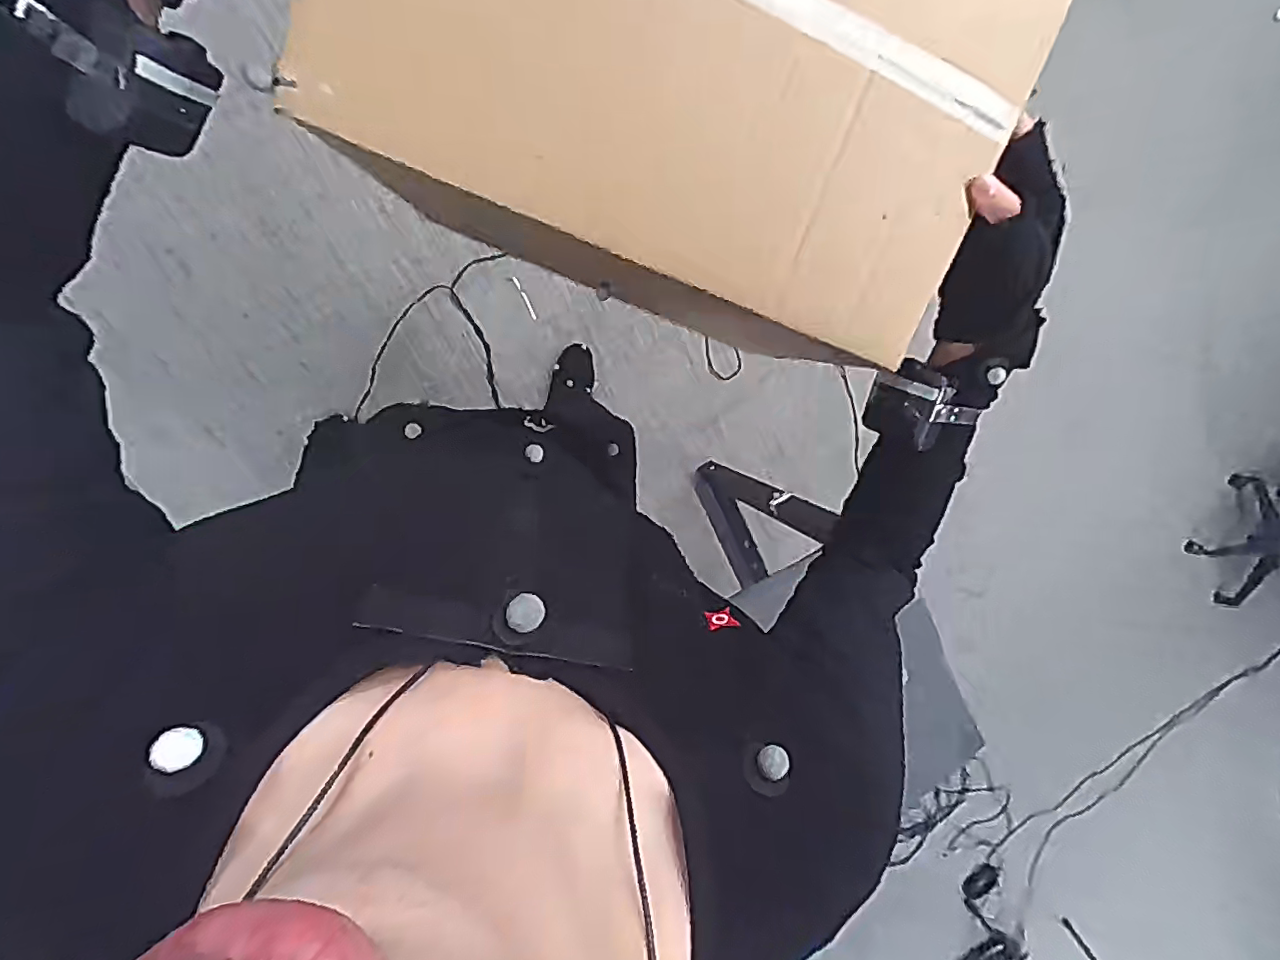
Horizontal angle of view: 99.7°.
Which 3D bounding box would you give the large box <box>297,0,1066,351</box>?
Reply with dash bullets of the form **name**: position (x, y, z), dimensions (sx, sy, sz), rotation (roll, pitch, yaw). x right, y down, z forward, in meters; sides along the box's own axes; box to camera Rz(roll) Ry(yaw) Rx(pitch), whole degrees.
- **large box**: position (0.031, -0.326, 0.443), dimensions (0.408, 0.320, 0.320), rotation (19, 103, -11)
